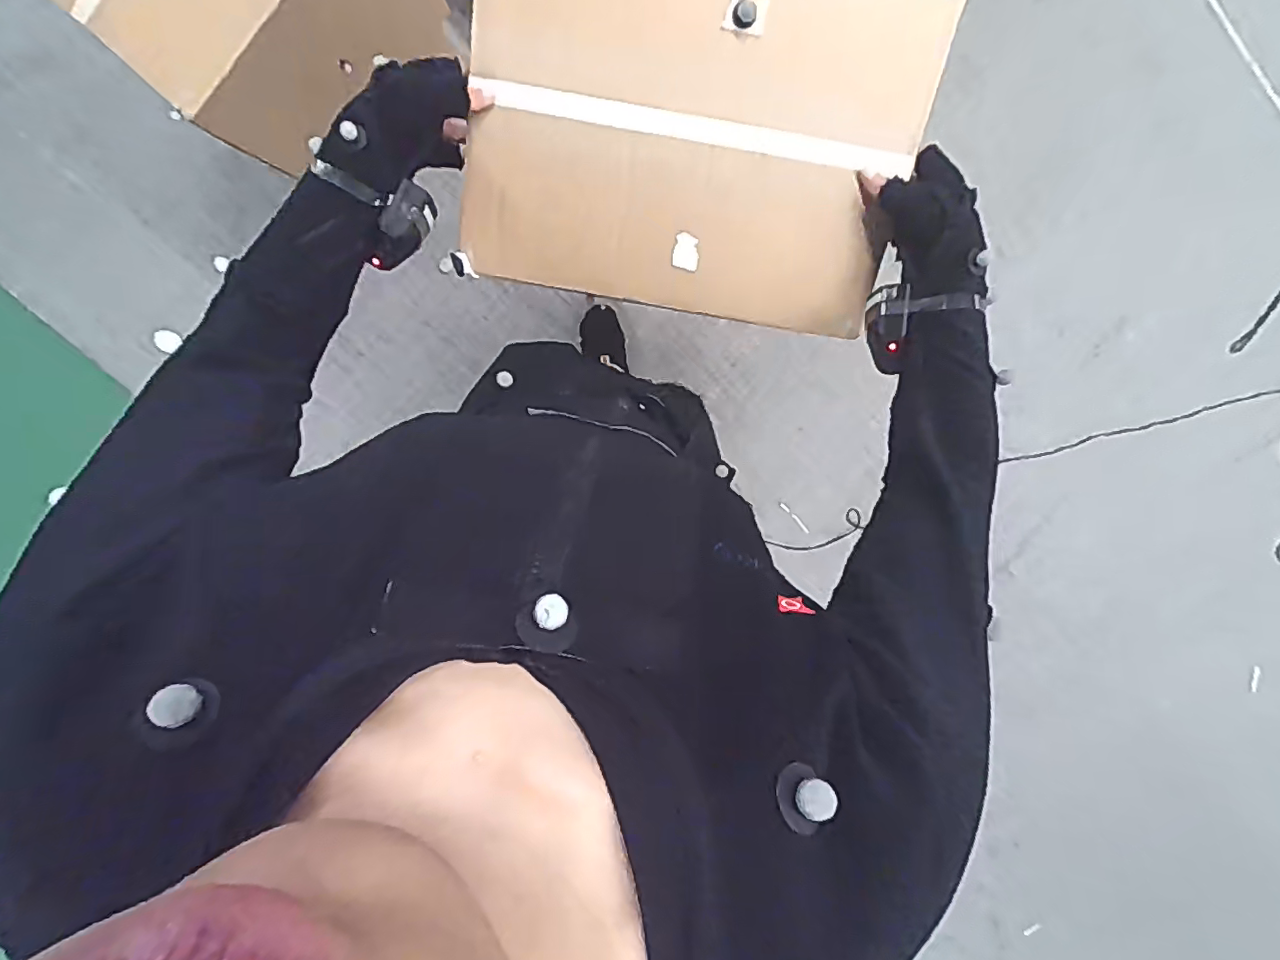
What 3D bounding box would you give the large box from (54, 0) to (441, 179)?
[{"bbox_3d":[-0.578,-0.755,0.805,0.320,0.320,0.408,44,99,-12],"label":"large box"}]
